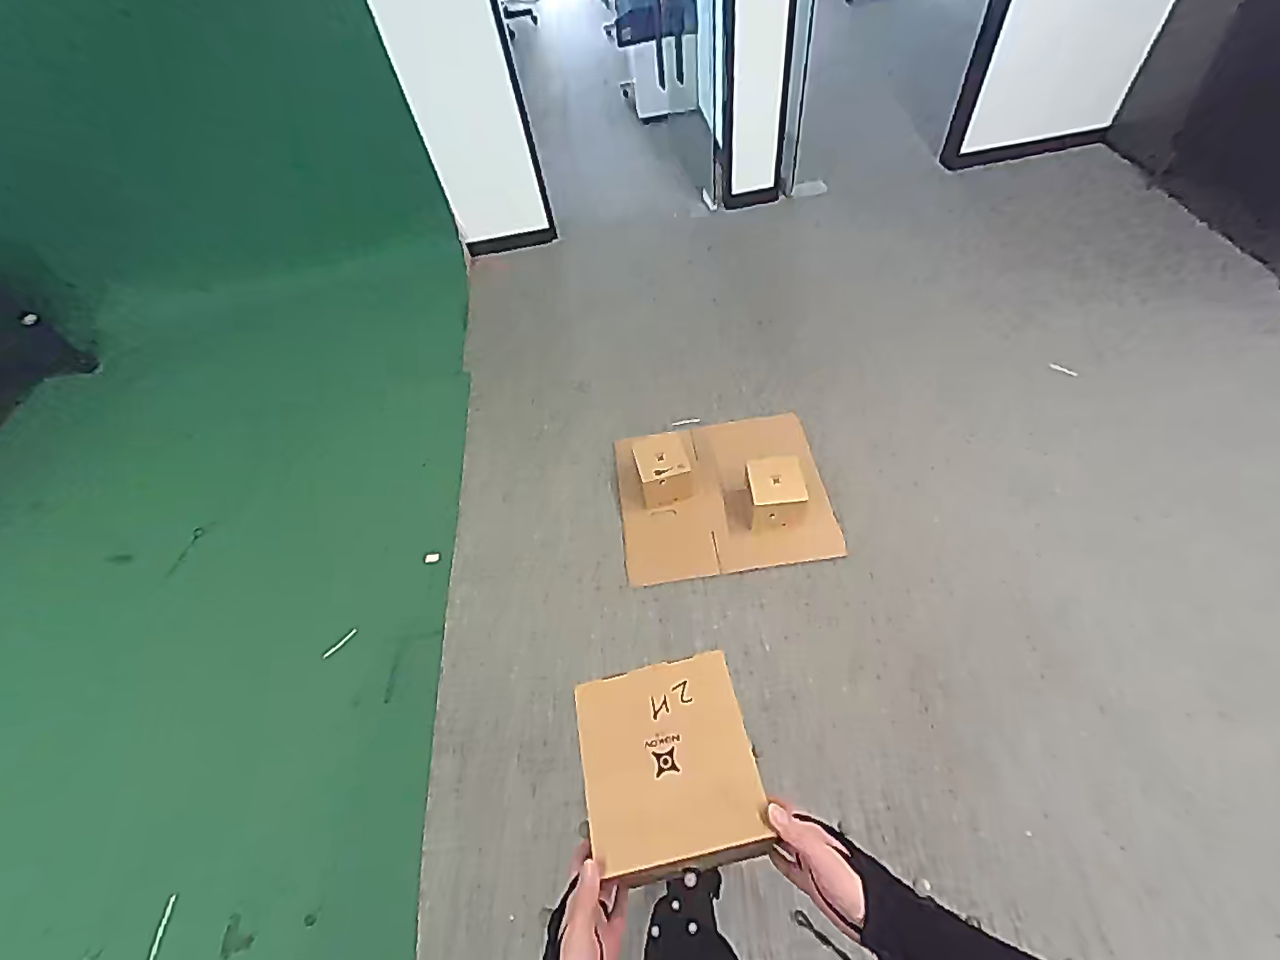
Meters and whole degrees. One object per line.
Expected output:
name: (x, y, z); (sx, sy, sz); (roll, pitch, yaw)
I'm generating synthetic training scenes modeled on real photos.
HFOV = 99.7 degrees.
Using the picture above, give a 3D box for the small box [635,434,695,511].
small box: (0.086, -0.024, 1.838); (0.168, 0.176, 0.179); (-15, 54, -3)

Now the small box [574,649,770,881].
small box: (0.034, 0.312, 0.583); (0.168, 0.176, 0.179); (-13, 49, 0)

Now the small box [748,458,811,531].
small box: (0.440, 0.053, 1.729); (0.168, 0.176, 0.179); (-6, 53, 4)
